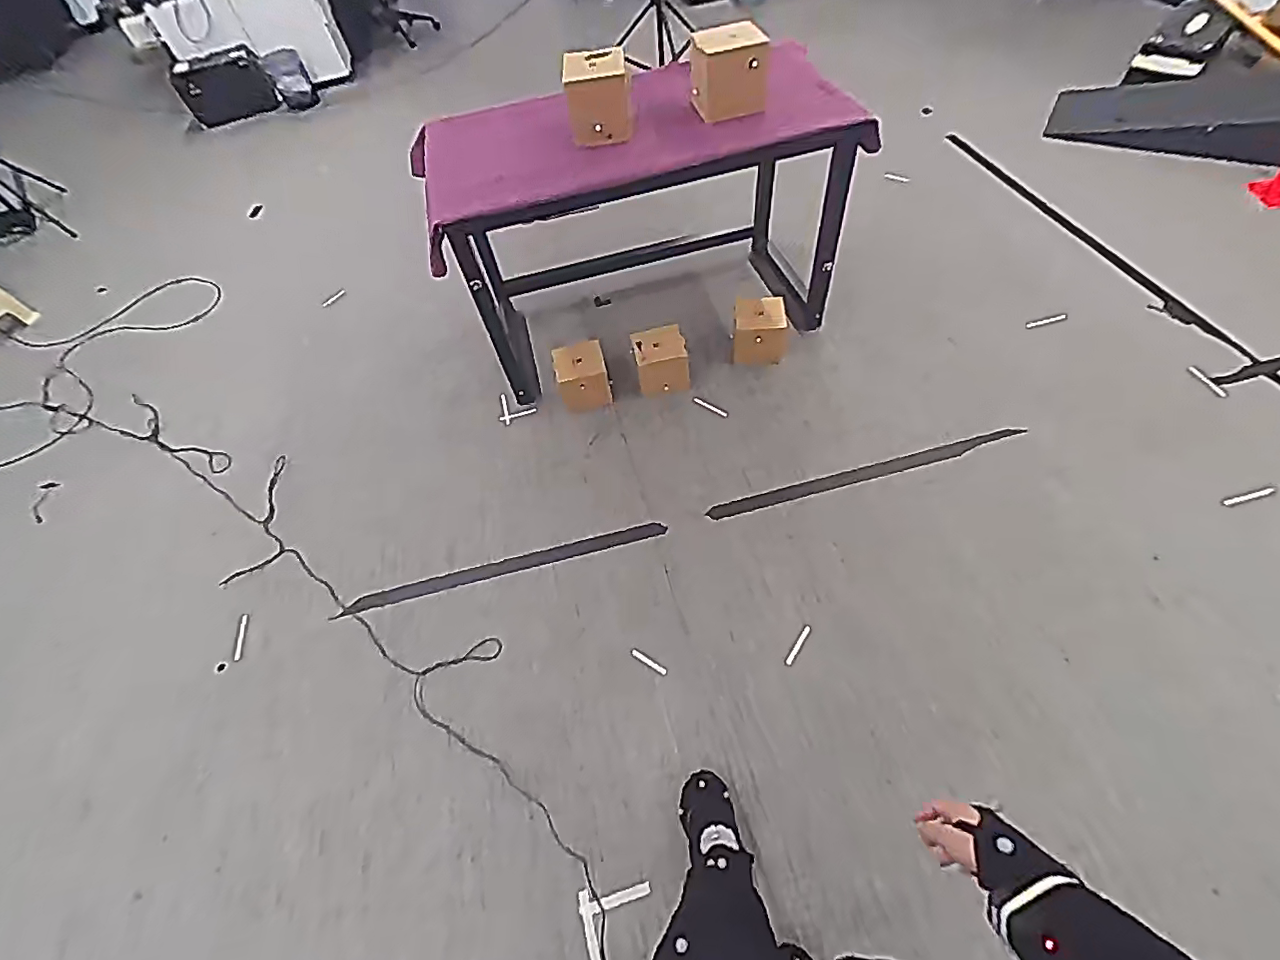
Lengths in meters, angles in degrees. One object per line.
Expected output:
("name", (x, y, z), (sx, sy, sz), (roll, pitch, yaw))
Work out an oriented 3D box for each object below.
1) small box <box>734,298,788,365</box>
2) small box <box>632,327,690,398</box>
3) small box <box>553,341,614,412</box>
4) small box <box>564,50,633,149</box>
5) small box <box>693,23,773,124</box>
("small box", (0.436, -0.538, 1.971), (0.179, 0.176, 0.168), (-2, 57, 8))
("small box", (0.077, -0.419, 1.937), (0.179, 0.176, 0.168), (-11, 56, -1))
("small box", (-0.201, -0.365, 1.938), (0.179, 0.176, 0.168), (-14, 57, -2))
("small box", (-0.111, -1.056, 1.505), (0.168, 0.176, 0.179), (-6, 57, 4))
("small box", (0.252, -1.128, 1.505), (0.179, 0.176, 0.168), (-14, 55, -1))
